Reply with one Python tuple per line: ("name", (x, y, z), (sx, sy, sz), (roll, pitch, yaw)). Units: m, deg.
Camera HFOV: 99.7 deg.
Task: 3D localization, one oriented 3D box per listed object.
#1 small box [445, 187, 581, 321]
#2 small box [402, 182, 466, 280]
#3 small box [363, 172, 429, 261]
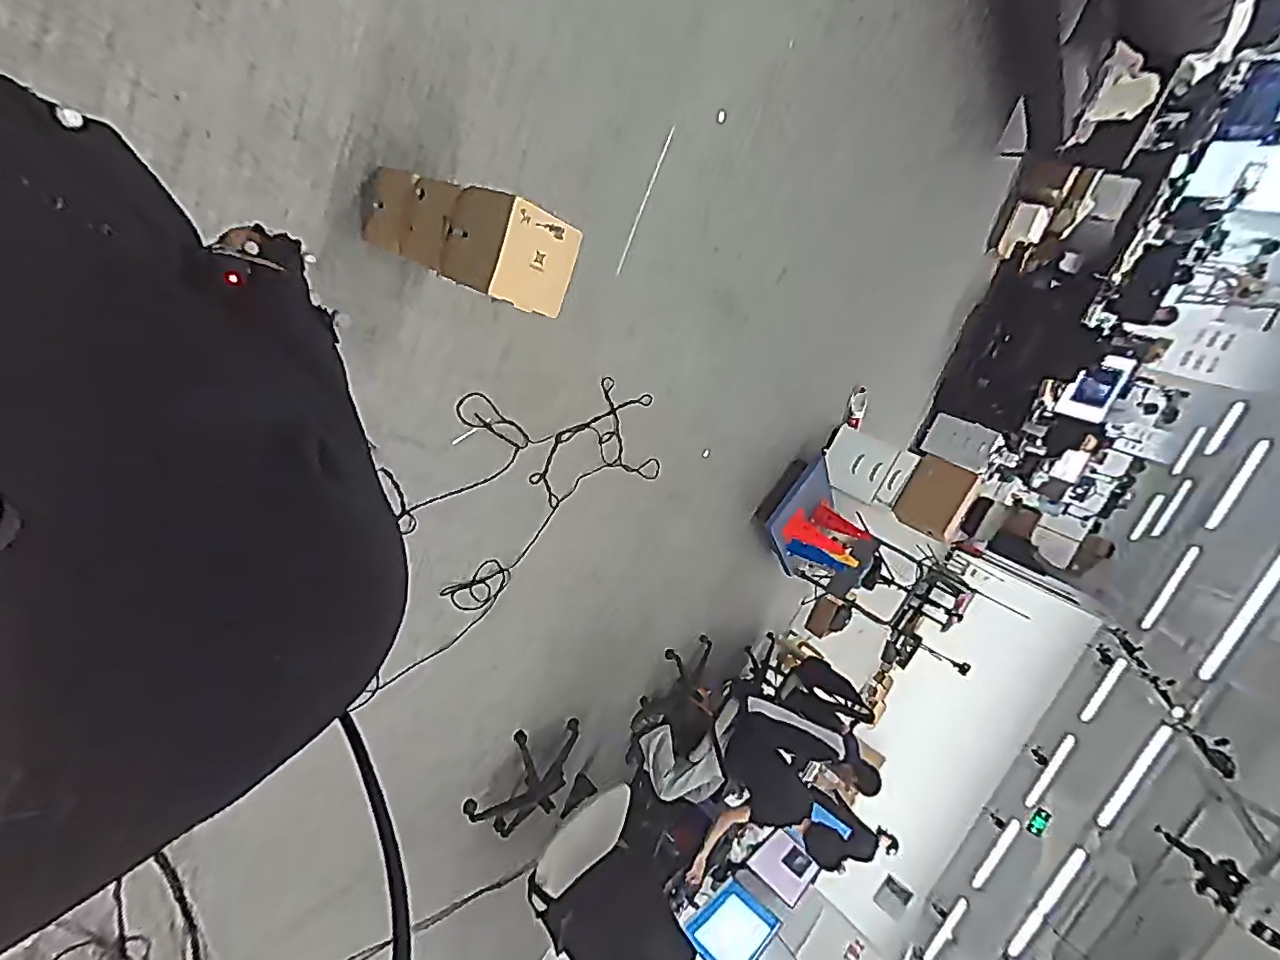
("small box", (-0.250, -0.434, 1.041), (0.168, 0.176, 0.179), (4, 112, -52))
("small box", (-0.368, -0.502, 1.133), (0.179, 0.176, 0.168), (3, 112, -52))
("small box", (-0.490, -0.573, 1.218), (0.179, 0.176, 0.168), (3, 112, -51))
